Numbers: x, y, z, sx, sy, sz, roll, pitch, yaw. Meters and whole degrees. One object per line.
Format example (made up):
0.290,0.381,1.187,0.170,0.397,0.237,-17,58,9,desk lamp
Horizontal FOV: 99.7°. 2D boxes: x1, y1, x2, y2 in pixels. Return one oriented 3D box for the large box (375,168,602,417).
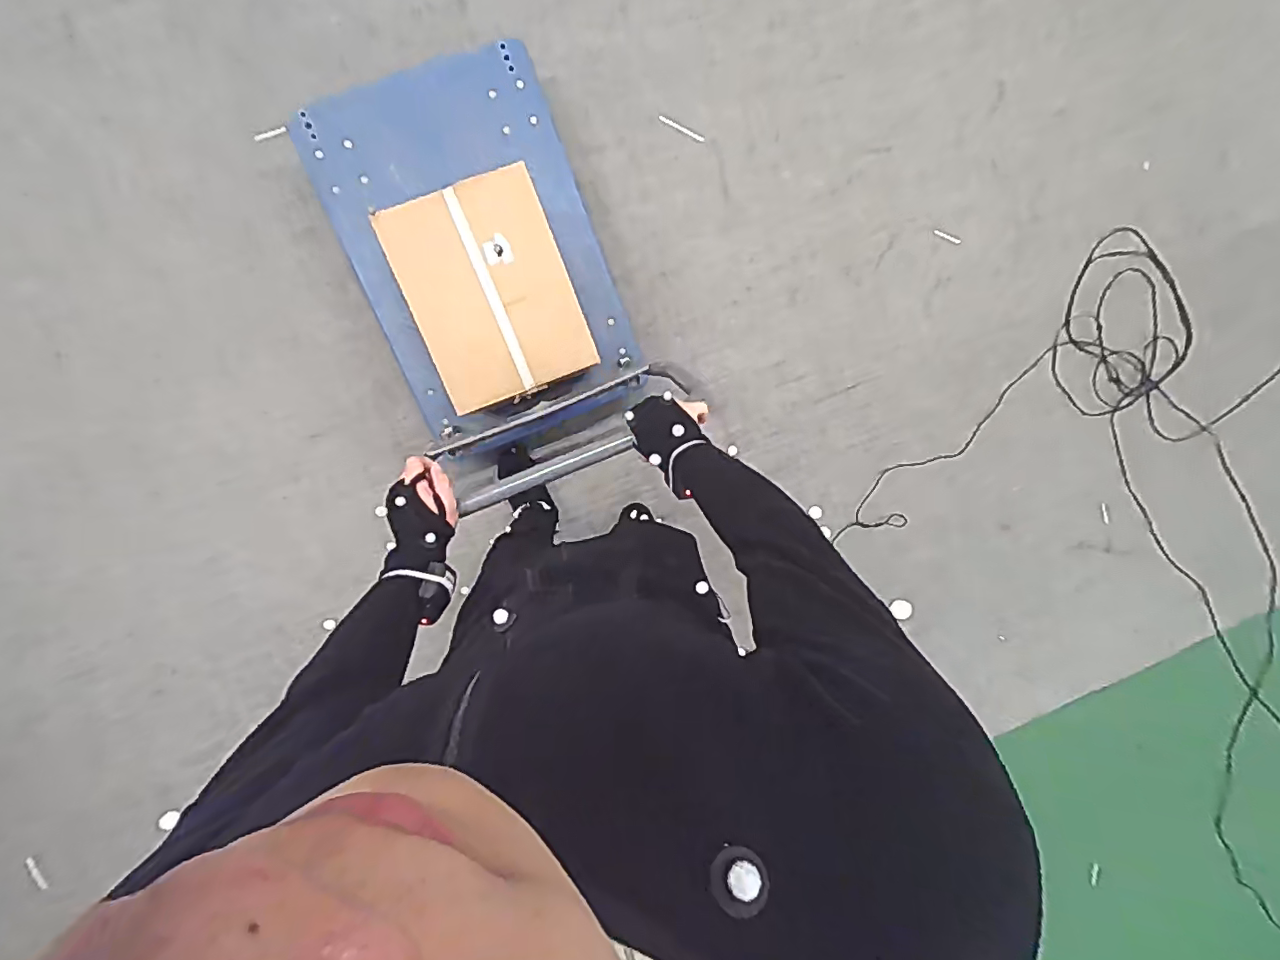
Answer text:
-0.305,-0.384,1.206,0.320,0.320,0.408,-22,101,-5,large box
